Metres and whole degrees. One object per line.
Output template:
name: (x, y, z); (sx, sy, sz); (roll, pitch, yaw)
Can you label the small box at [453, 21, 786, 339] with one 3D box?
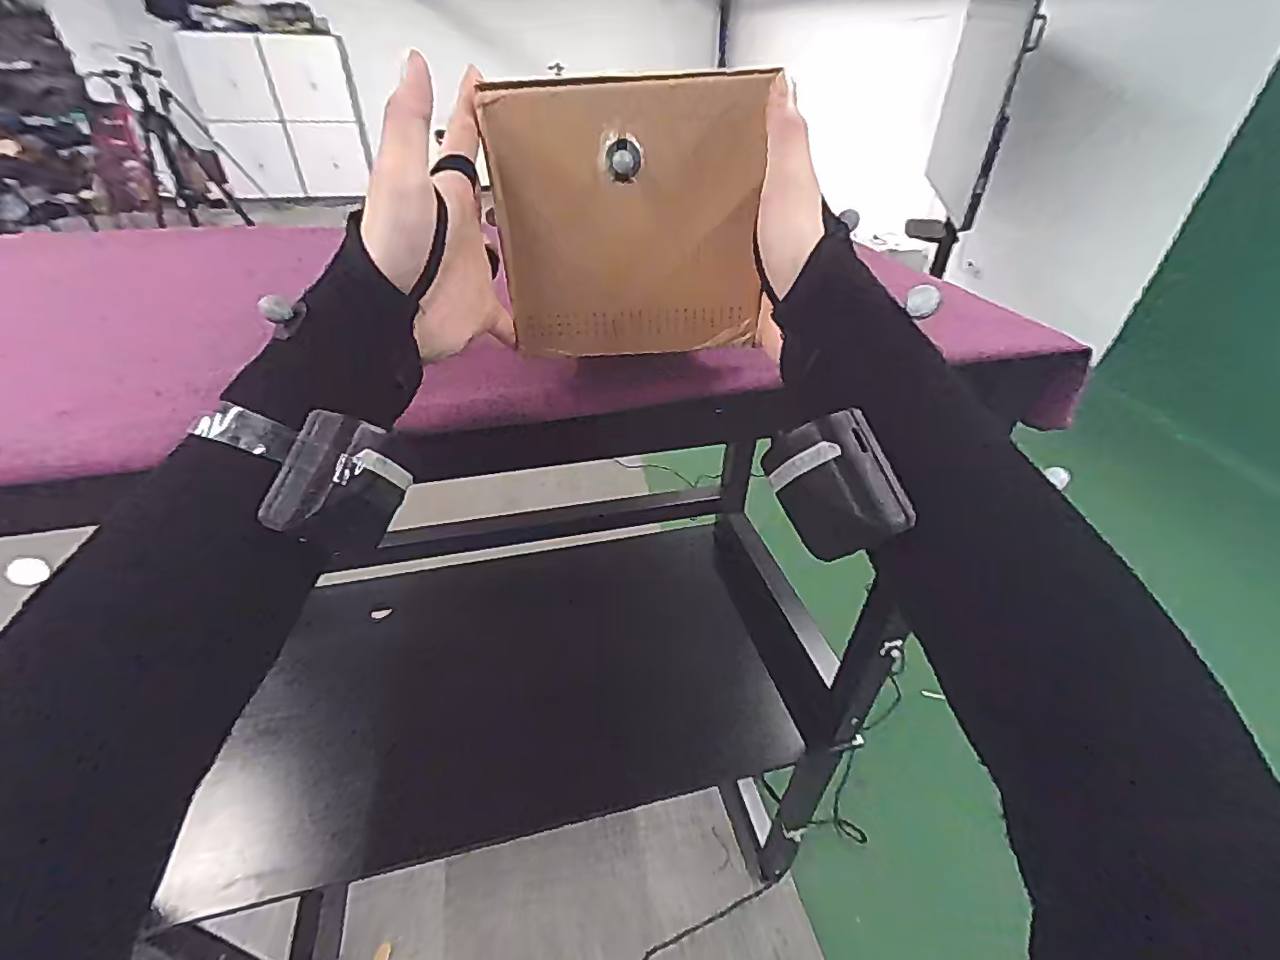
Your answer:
small box: (-0.008, -0.210, 0.386); (0.179, 0.176, 0.168); (0, 38, 1)
